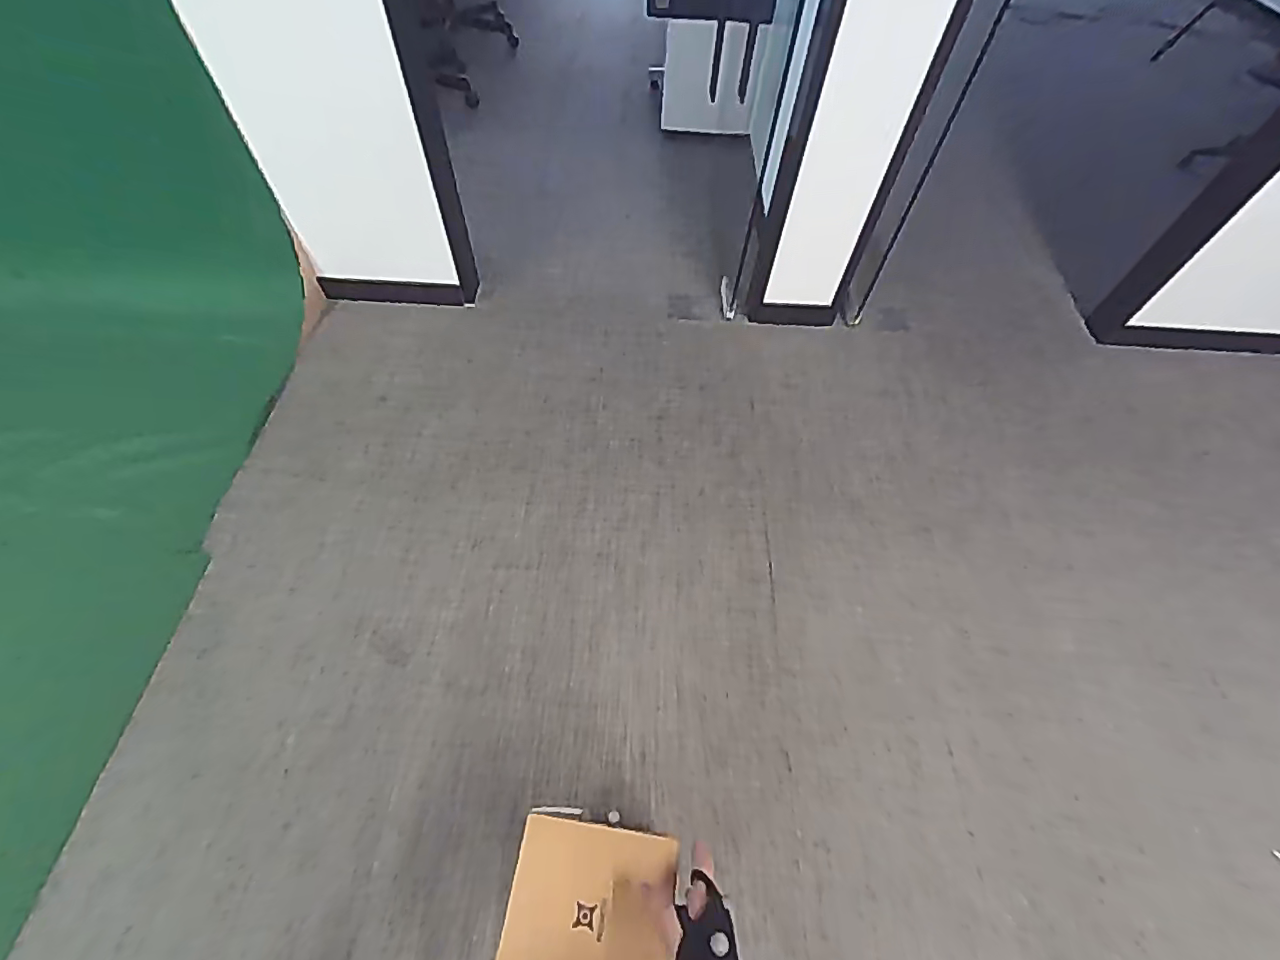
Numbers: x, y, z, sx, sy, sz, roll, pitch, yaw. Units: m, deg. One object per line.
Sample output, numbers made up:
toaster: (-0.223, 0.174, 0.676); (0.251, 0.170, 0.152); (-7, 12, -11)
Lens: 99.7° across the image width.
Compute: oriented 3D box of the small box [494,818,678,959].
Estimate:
small box: (-0.058, 0.508, 0.629); (0.179, 0.176, 0.168); (9, 56, 3)
